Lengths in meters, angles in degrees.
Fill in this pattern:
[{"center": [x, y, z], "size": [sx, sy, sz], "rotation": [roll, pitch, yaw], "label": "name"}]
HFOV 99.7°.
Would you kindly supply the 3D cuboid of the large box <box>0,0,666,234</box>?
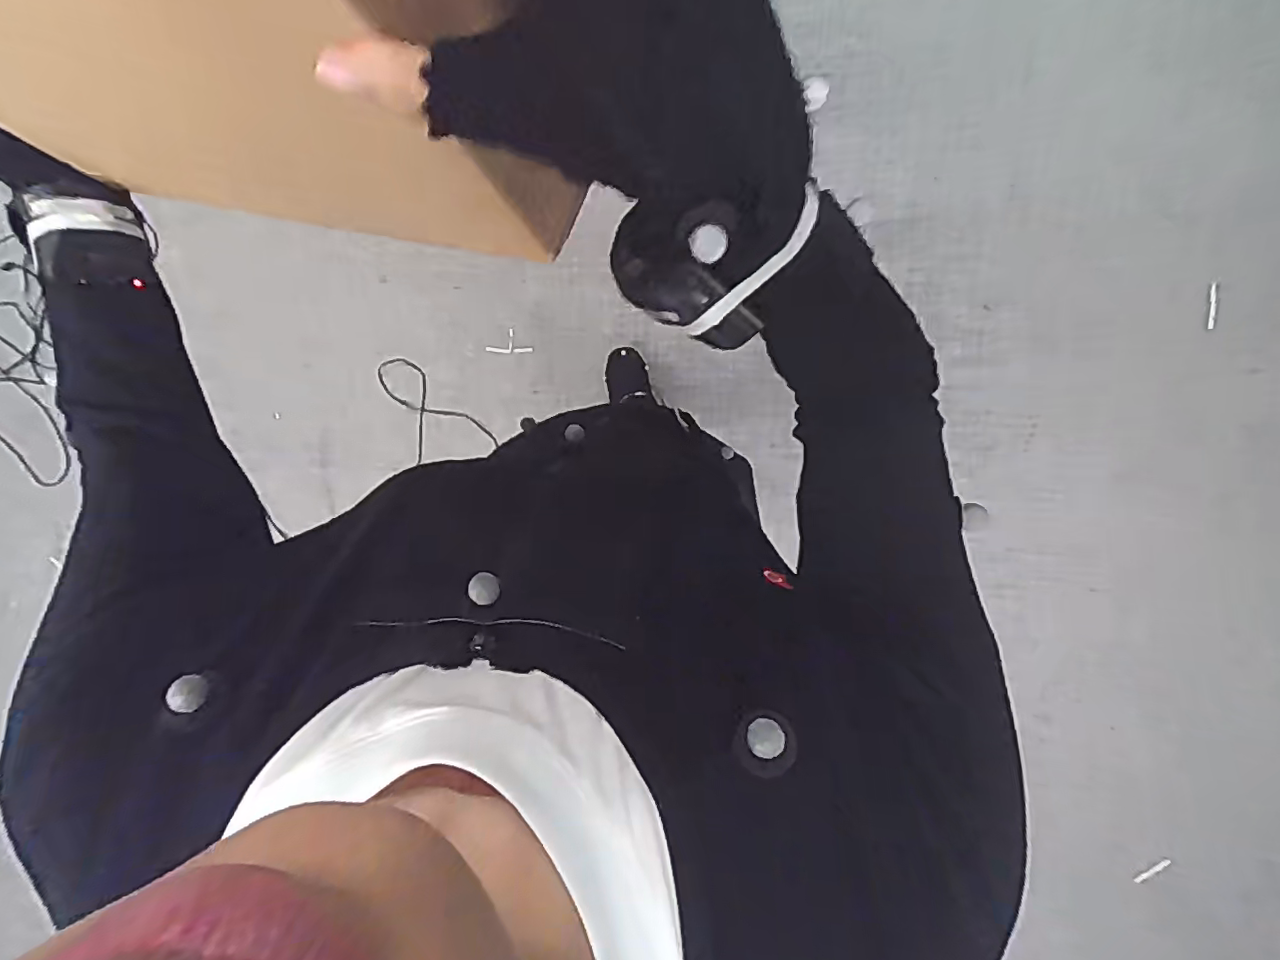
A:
[{"center": [-0.206, -0.346, 0.221], "size": [0.408, 0.320, 0.320], "rotation": [18, 85, 19], "label": "large box"}]
